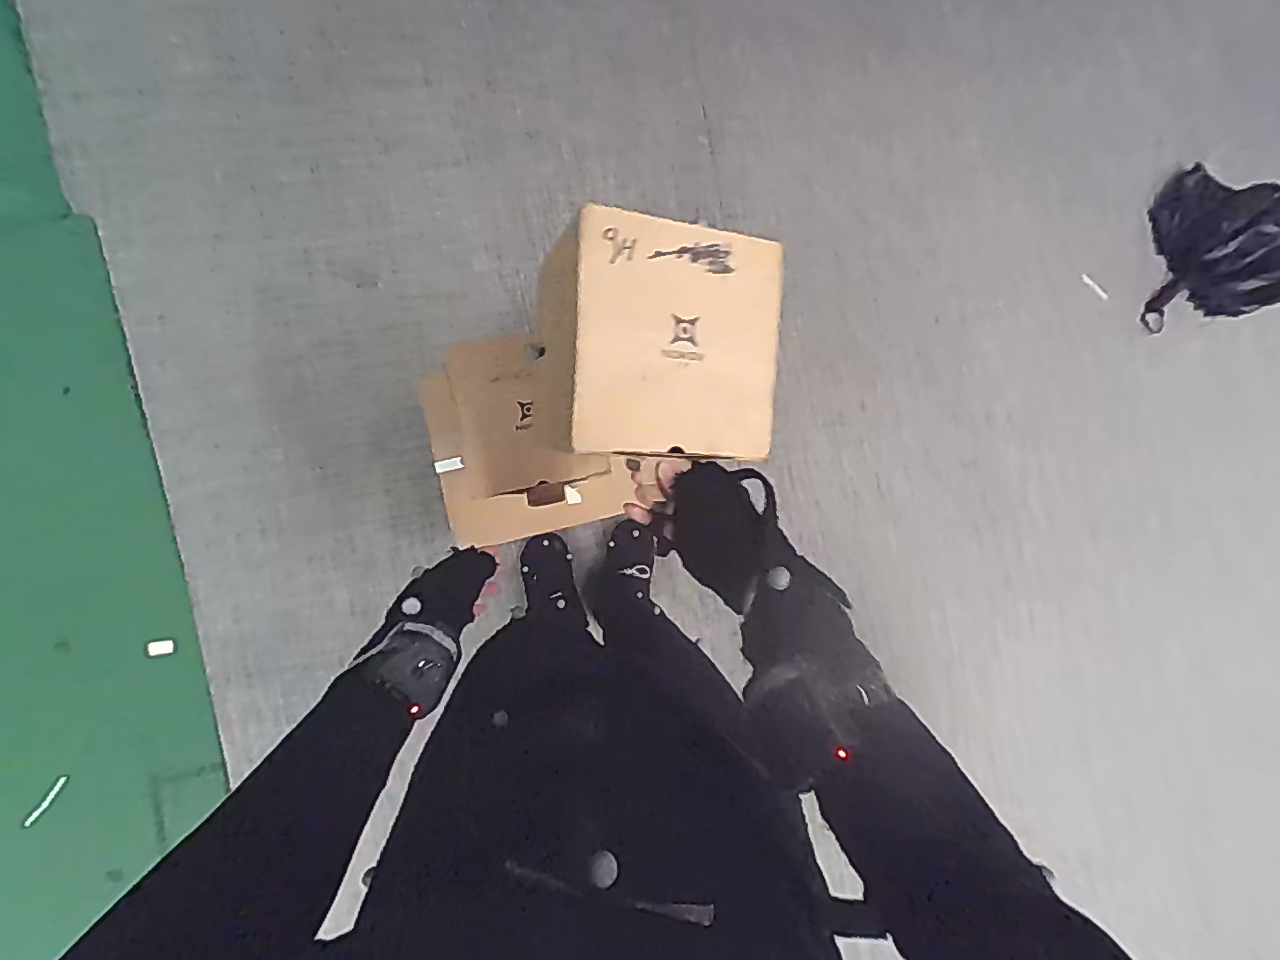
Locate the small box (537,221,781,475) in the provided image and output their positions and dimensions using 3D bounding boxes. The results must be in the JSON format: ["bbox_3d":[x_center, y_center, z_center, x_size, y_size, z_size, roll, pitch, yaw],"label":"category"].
[{"bbox_3d":[0.003,-0.103,0.487,0.168,0.176,0.179,2,96,-20],"label":"small box"}]

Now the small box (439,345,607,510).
[{"bbox_3d":[-0.143,-0.072,0.702,0.168,0.176,0.179,-12,96,-8],"label":"small box"}]
